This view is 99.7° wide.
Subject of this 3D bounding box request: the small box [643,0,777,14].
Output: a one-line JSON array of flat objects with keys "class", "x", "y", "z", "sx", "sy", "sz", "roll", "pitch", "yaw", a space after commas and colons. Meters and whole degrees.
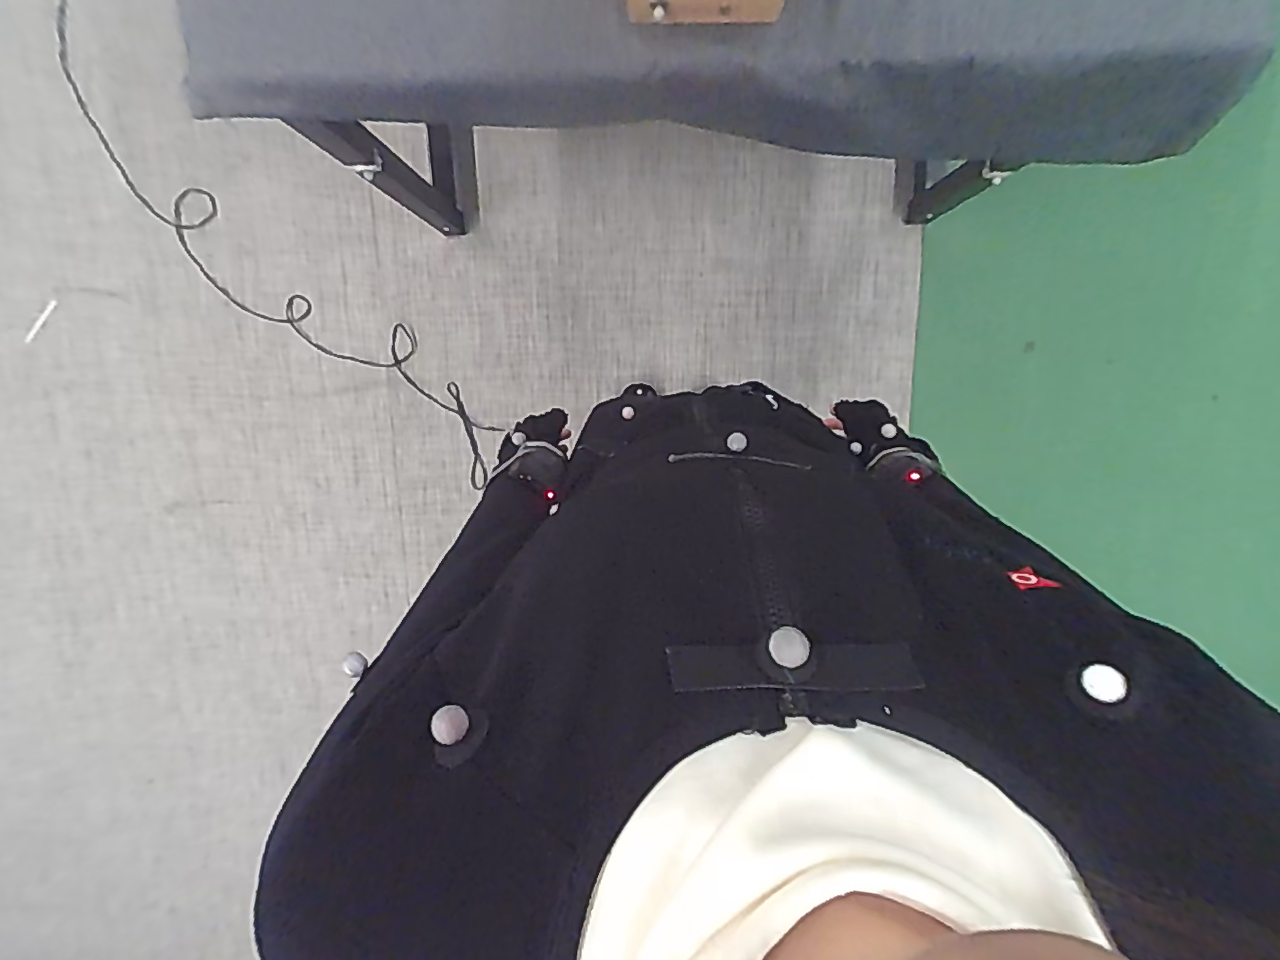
[{"class": "small box", "x": 0.071, "y": -0.592, "z": 0.516, "sx": 0.168, "sy": 0.176, "sz": 0.179, "roll": 1, "pitch": 98, "yaw": 1}]
